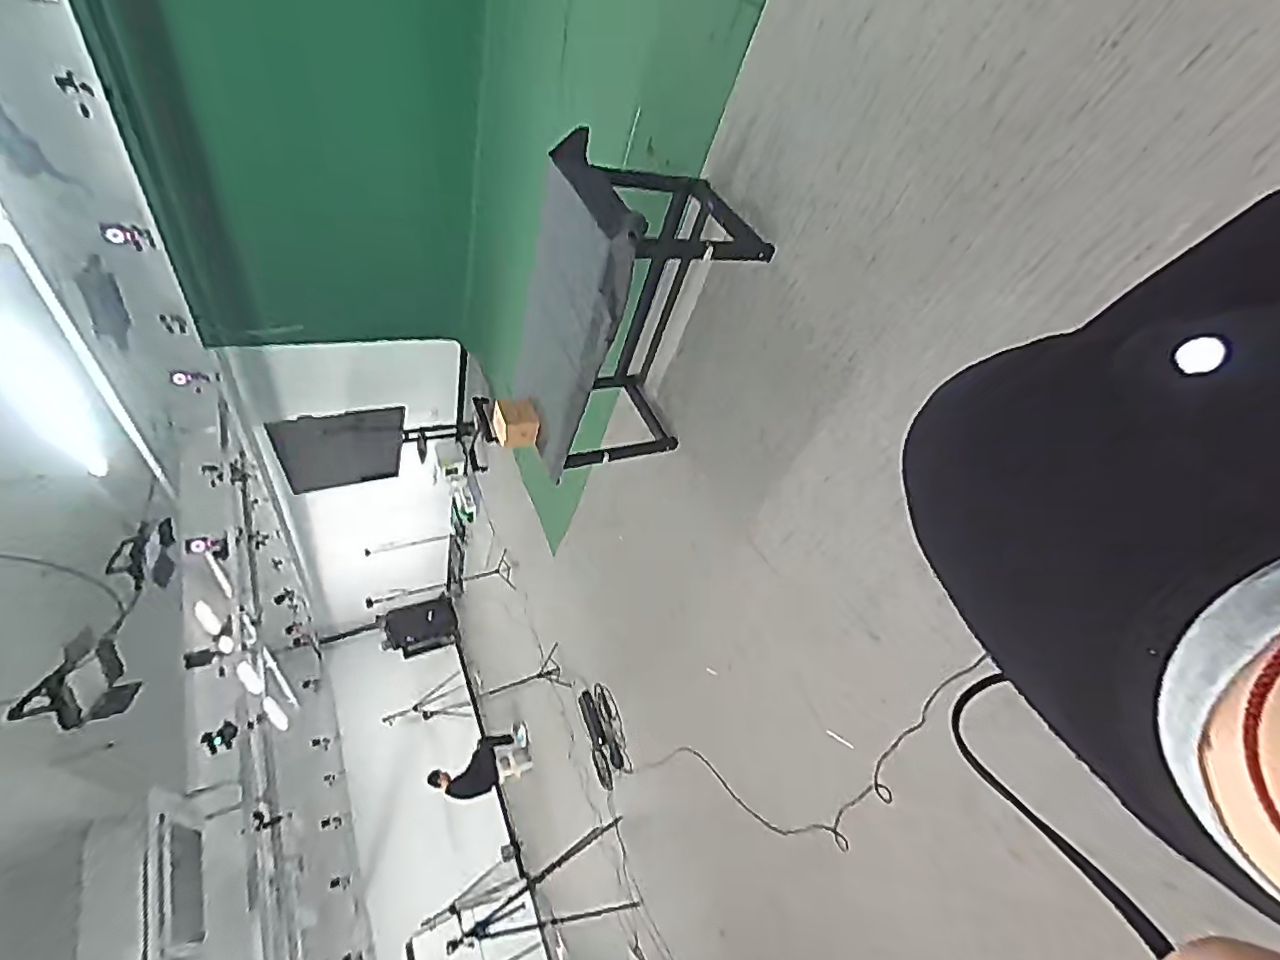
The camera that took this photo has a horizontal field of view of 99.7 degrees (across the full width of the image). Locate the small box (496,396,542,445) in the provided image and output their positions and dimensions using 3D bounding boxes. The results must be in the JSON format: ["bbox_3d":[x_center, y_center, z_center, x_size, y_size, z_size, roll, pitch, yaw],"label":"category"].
[{"bbox_3d":[-0.595,-0.298,2.660,0.179,0.176,0.168,61,145,28],"label":"small box"}]
